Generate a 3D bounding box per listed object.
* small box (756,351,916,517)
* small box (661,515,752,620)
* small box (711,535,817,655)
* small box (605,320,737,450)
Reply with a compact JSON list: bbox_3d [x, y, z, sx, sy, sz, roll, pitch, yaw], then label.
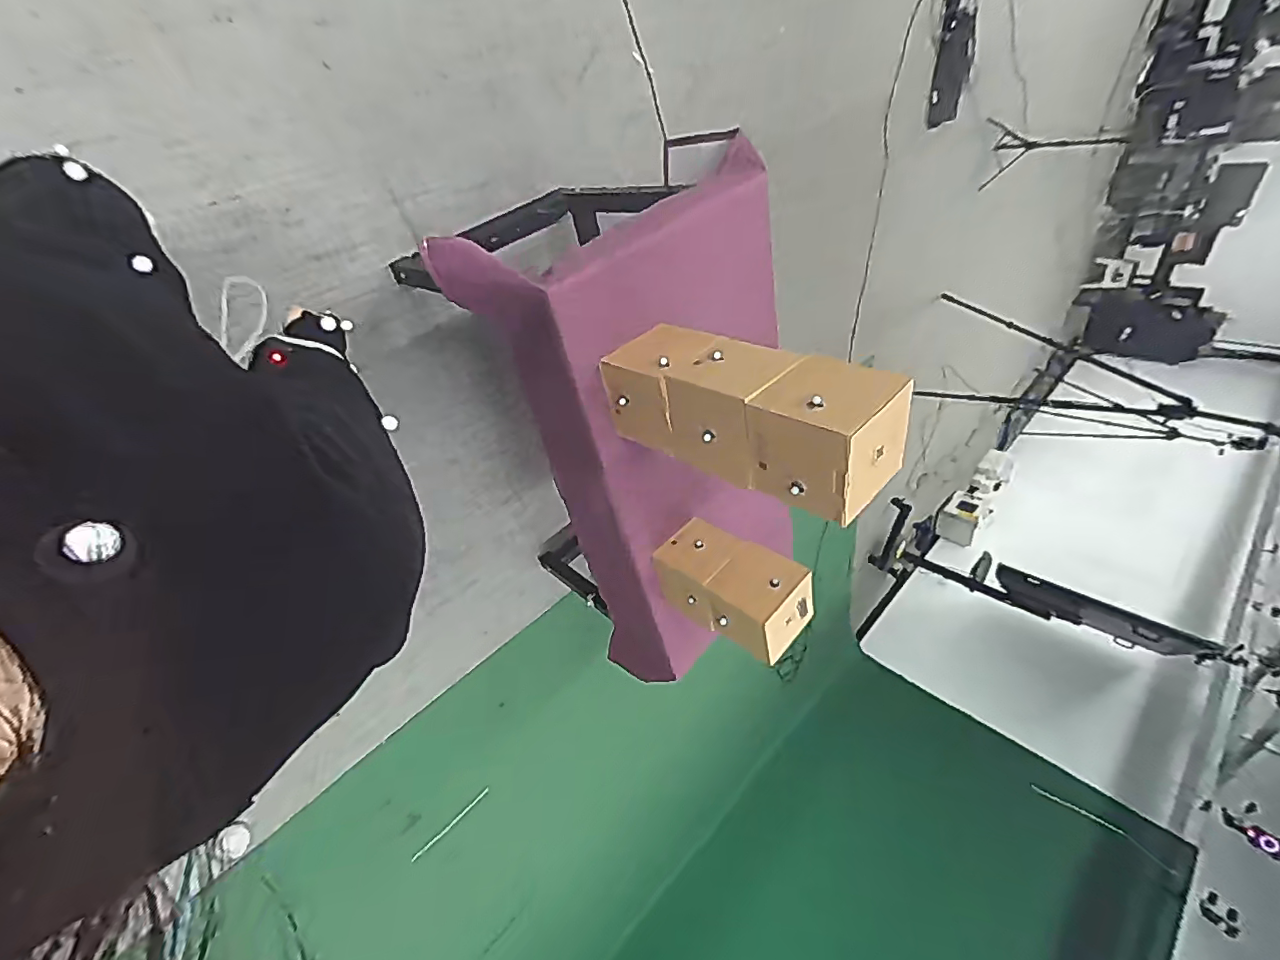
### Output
[{"bbox_3d":[0.290,-0.078,0.828,0.179,0.176,0.168,-38,134,-28],"label":"small box"},{"bbox_3d":[0.171,0.208,1.355,0.168,0.176,0.179,-38,133,-26],"label":"small box"},{"bbox_3d":[0.289,0.259,1.252,0.179,0.176,0.168,-40,134,-25],"label":"small box"},{"bbox_3d":[0.062,-0.190,1.036,0.179,0.176,0.168,-38,134,-26],"label":"small box"}]
